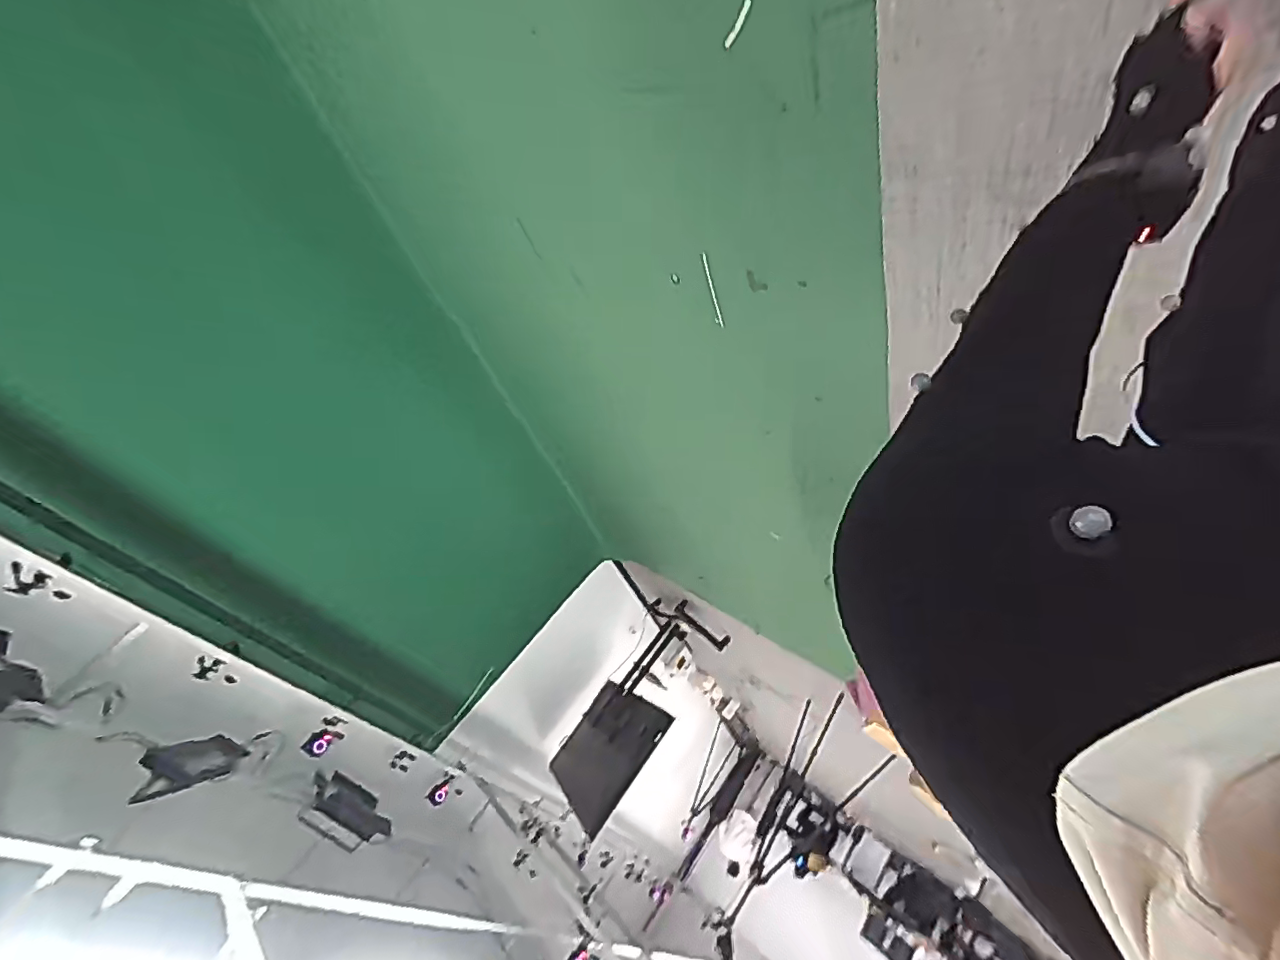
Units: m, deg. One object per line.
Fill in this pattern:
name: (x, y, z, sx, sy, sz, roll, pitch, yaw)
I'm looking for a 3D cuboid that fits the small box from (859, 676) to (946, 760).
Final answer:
small box: (0.799, 0.719, 1.643, 0.168, 0.176, 0.179, 30, 158, 22)
